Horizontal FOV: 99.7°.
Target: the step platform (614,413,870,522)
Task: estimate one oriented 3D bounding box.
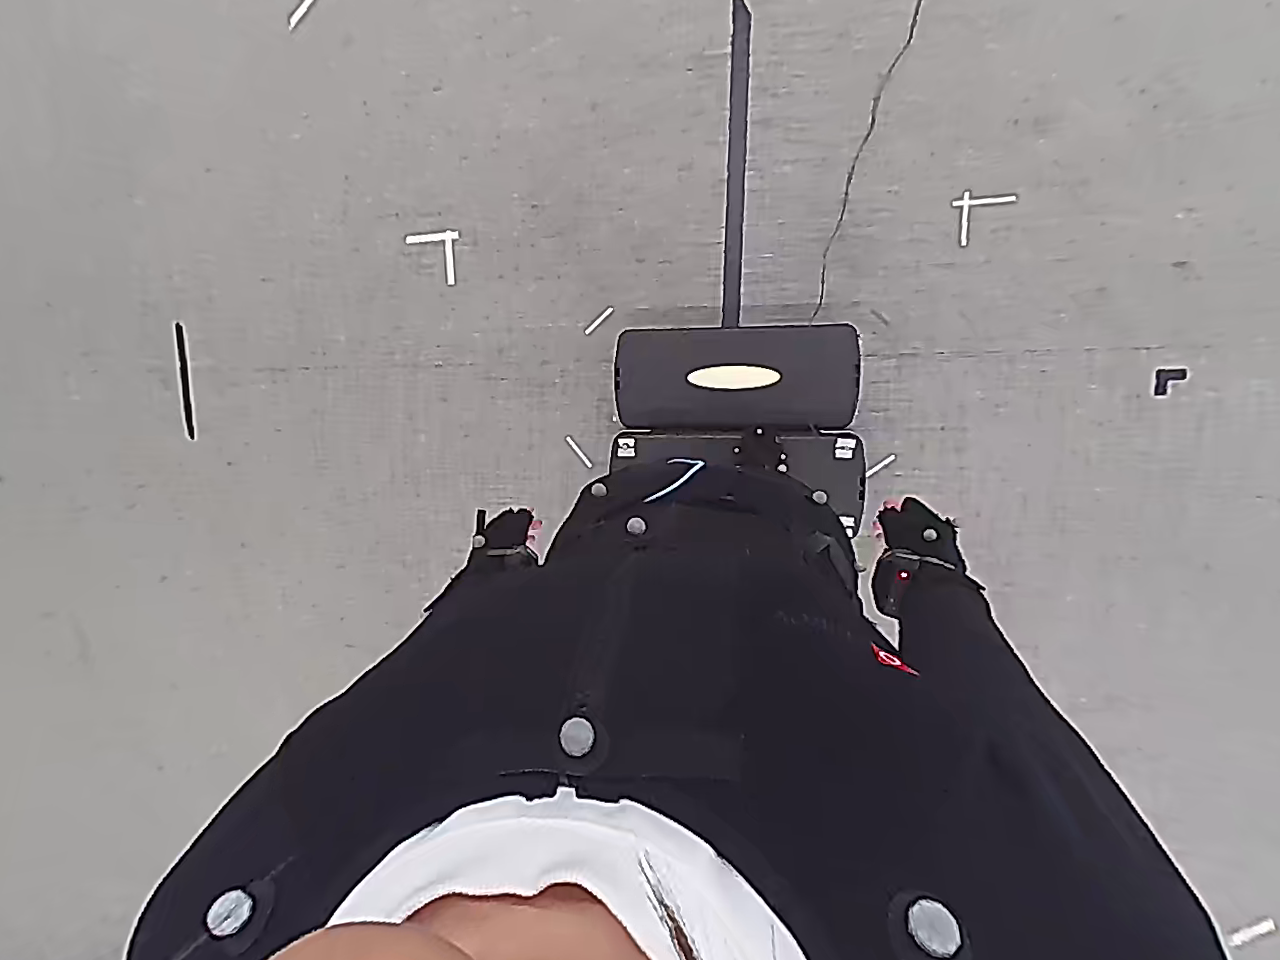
[{"bbox_3d":[0.269,-0.038,1.502,0.684,0.204,0.286,0,96,10],"label":"step platform"}]
